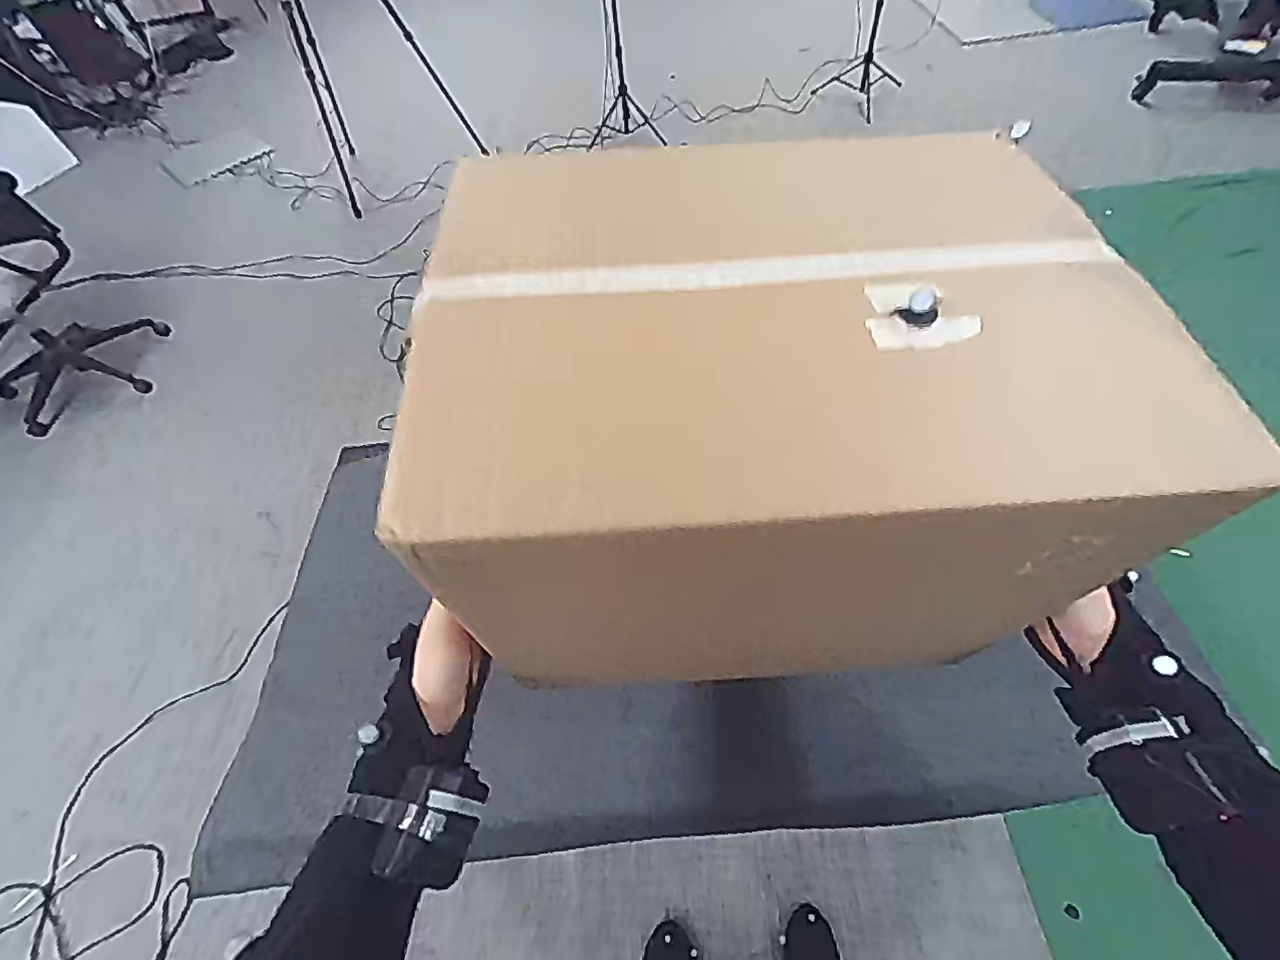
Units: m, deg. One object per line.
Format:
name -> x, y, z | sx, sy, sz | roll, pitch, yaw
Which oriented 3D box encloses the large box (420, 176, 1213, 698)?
large box -> 0.079, -0.020, 0.466 | 0.408, 0.320, 0.320 | -4, 58, -2
